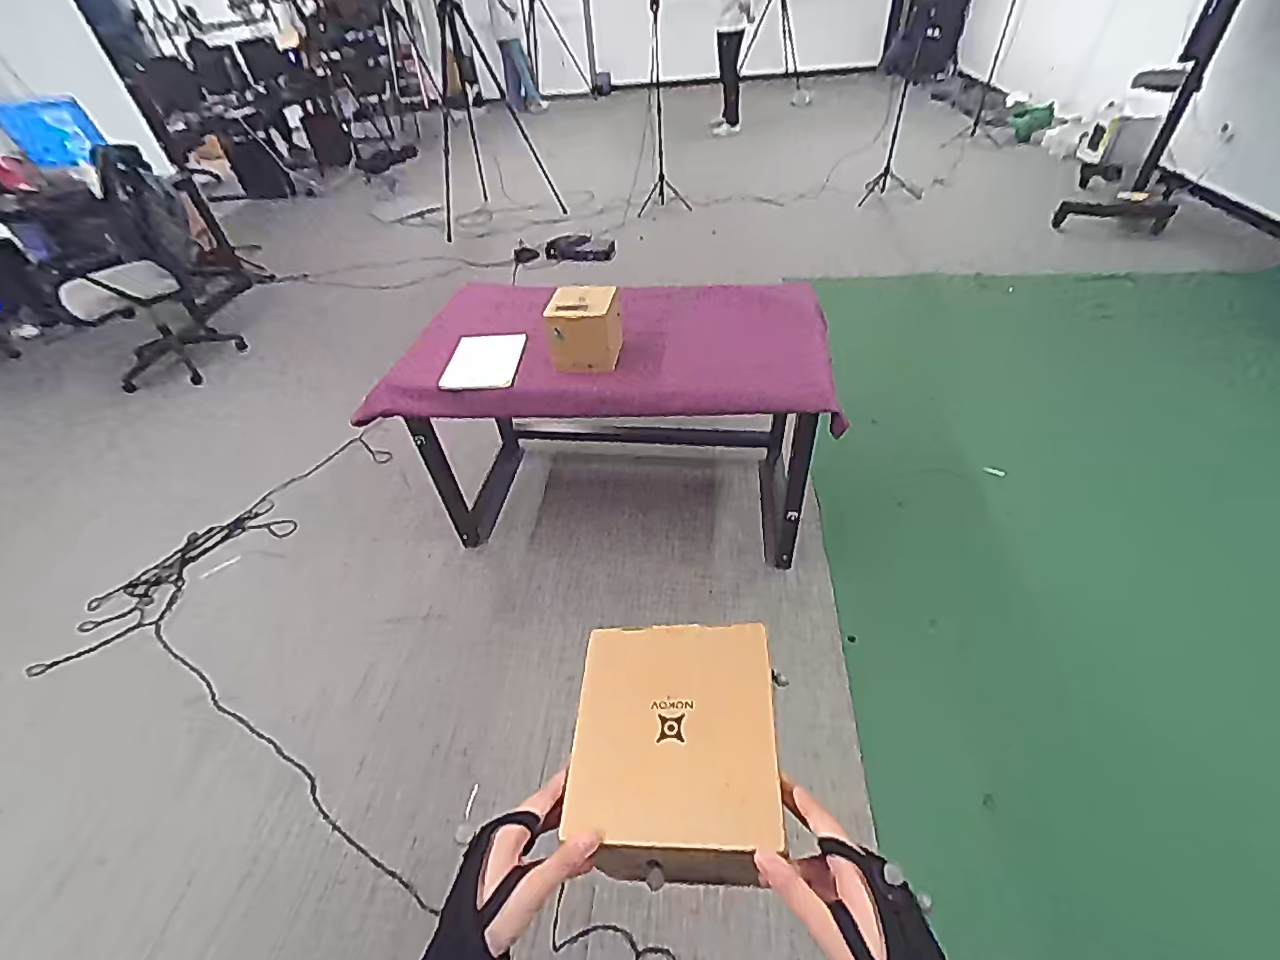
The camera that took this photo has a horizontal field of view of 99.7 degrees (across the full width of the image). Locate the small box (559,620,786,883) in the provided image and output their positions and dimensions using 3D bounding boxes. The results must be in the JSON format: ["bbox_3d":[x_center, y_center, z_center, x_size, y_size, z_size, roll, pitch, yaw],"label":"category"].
[{"bbox_3d":[0.041,0.252,0.500,0.168,0.176,0.179,-6,44,11],"label":"small box"}]
